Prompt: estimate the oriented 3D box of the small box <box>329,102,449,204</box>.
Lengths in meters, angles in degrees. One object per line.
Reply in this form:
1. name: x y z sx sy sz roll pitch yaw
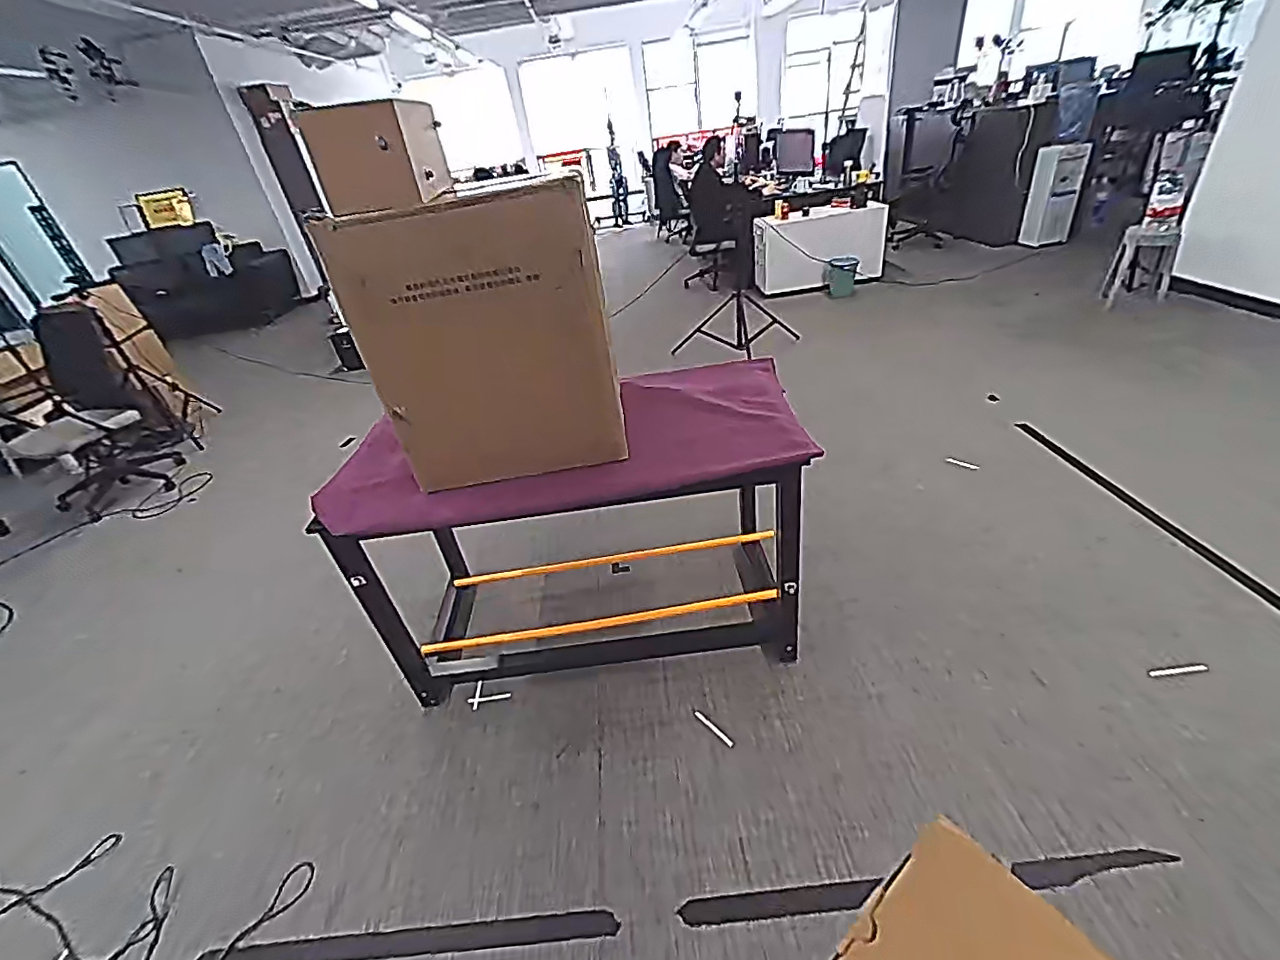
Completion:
1. small box: -0.534 -0.711 1.183 0.168 0.176 0.179 -9 33 0
